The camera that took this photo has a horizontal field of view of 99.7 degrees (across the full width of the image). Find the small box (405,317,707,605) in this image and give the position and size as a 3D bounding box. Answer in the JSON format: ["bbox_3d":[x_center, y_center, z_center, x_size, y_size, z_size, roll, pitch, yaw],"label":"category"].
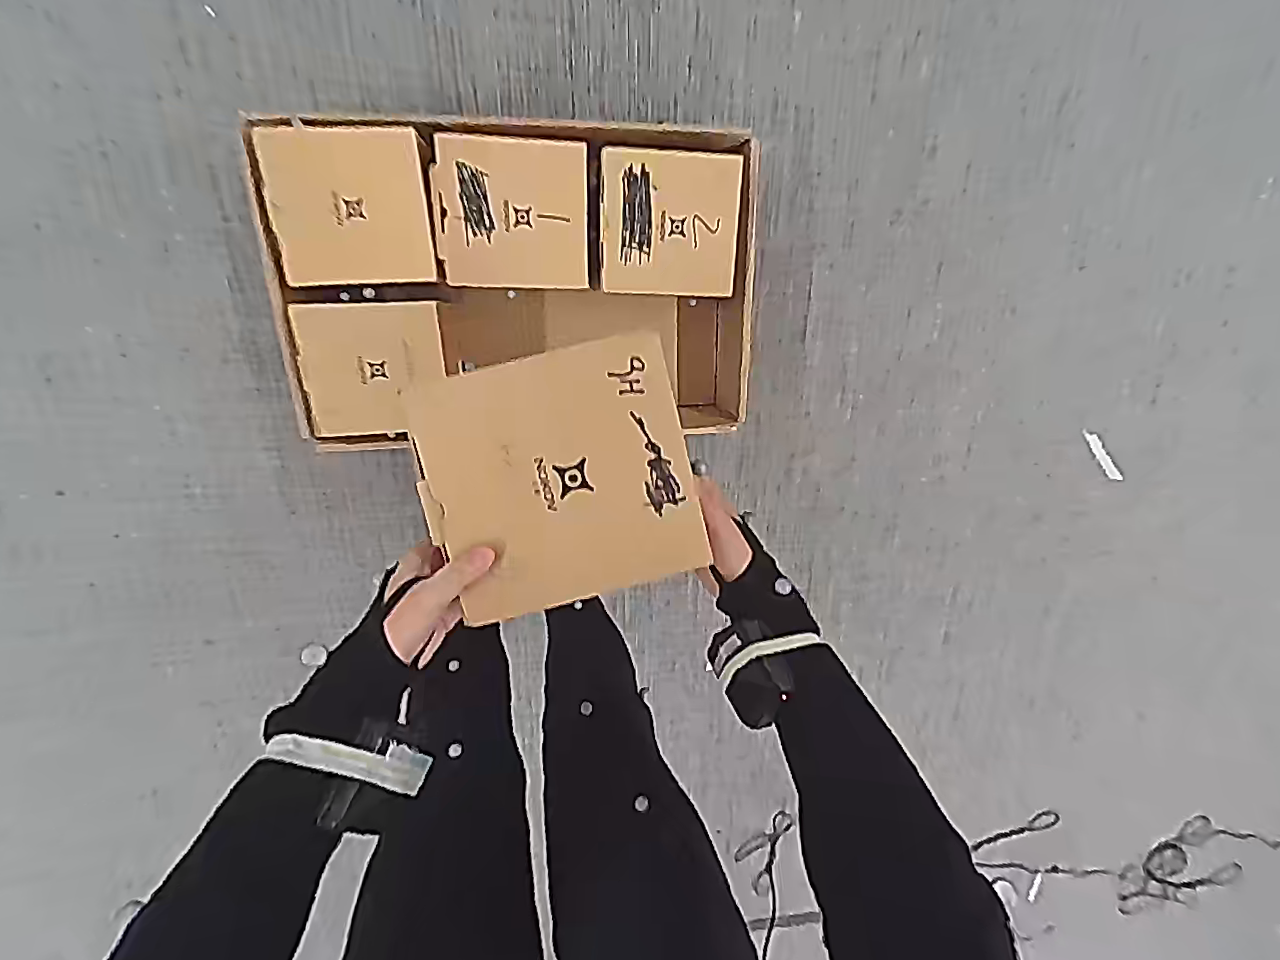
[{"bbox_3d":[-0.057,-0.018,0.444,0.179,0.176,0.168,-14,96,-1],"label":"small box"}]
